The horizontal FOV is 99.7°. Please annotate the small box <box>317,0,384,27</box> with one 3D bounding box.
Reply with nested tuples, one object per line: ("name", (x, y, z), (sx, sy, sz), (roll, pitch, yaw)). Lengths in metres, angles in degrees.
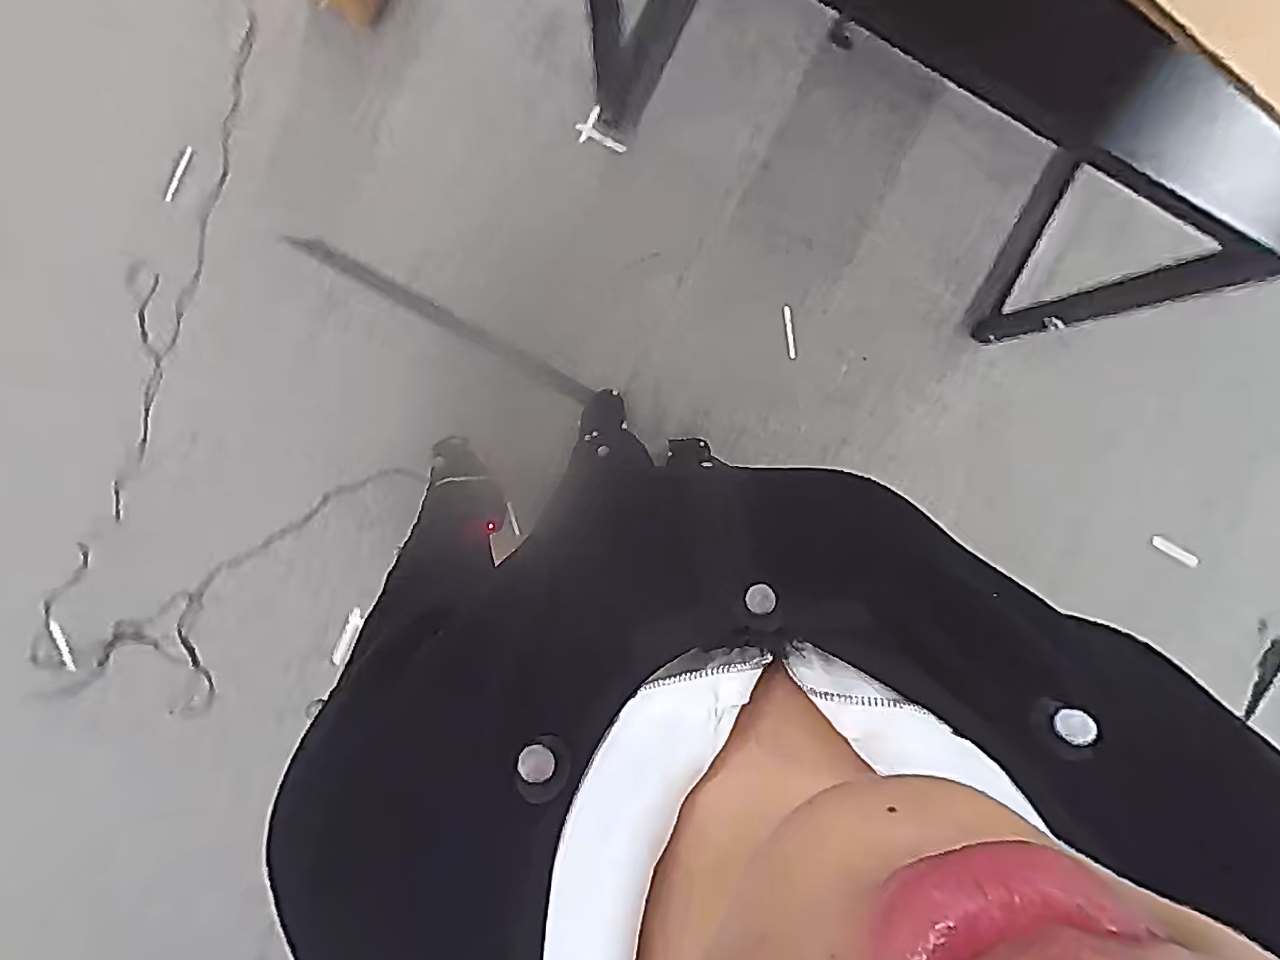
("small box", (-0.703, -1.232, 1.261), (0.168, 0.176, 0.179), (24, 96, -3))
